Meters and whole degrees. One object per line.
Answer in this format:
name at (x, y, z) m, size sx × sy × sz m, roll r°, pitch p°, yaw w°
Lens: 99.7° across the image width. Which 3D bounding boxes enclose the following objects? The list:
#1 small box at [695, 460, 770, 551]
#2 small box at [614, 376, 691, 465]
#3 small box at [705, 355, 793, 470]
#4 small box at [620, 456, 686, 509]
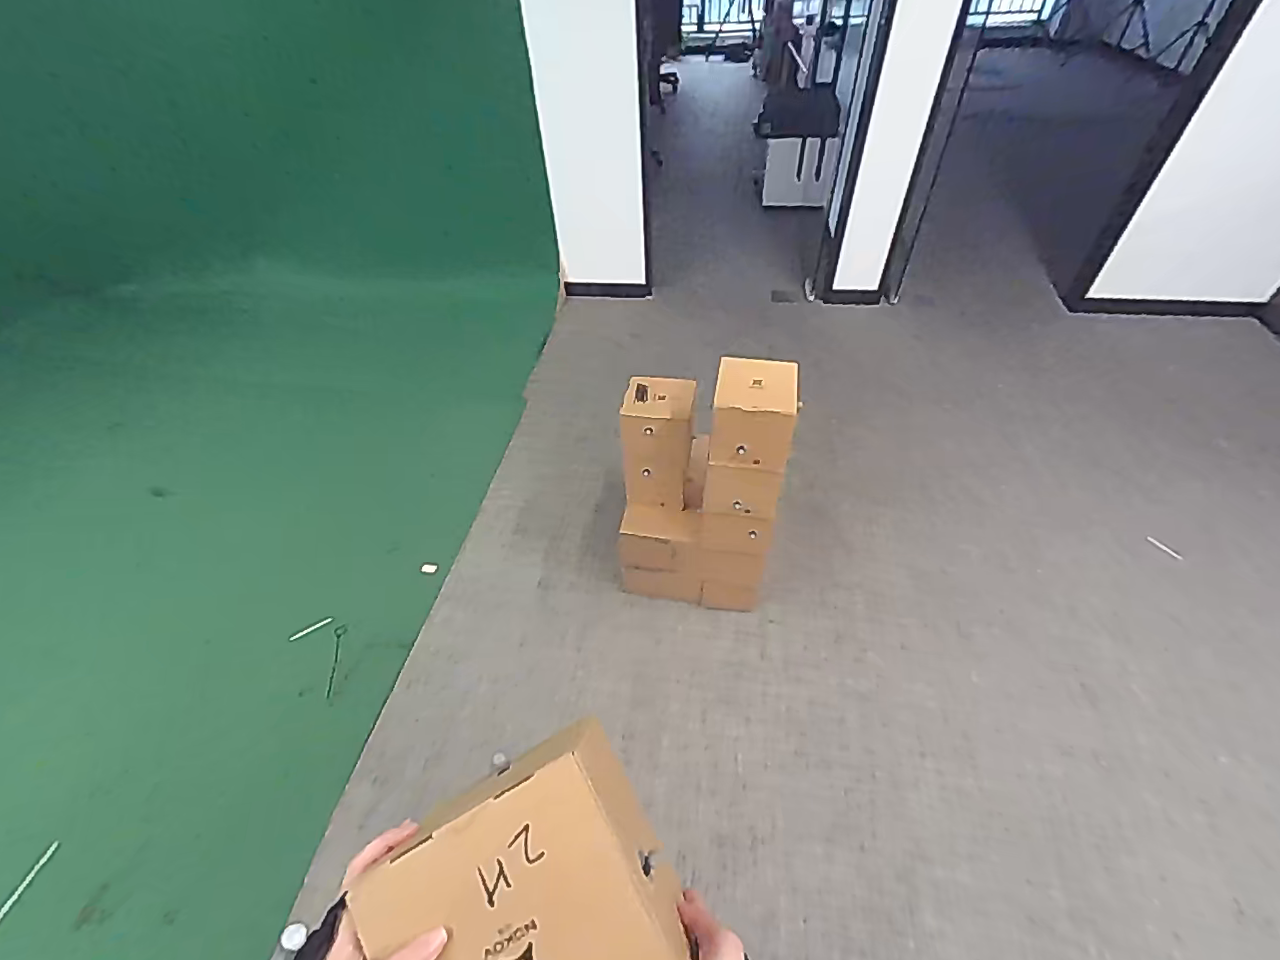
small box at (0.242, 0.071, 1.422) m, size 0.179 × 0.176 × 0.168 m, roll 5°, pitch 46°, yaw 8°
small box at (0.040, -0.156, 1.421) m, size 0.179 × 0.176 × 0.168 m, roll 5°, pitch 46°, yaw 9°
small box at (0.234, -0.147, 1.179) m, size 0.168 × 0.176 × 0.179 m, roll 7°, pitch 47°, yaw 8°
small box at (0.042, -0.043, 1.543) m, size 0.168 × 0.176 × 0.179 m, roll 6°, pitch 45°, yaw 9°
